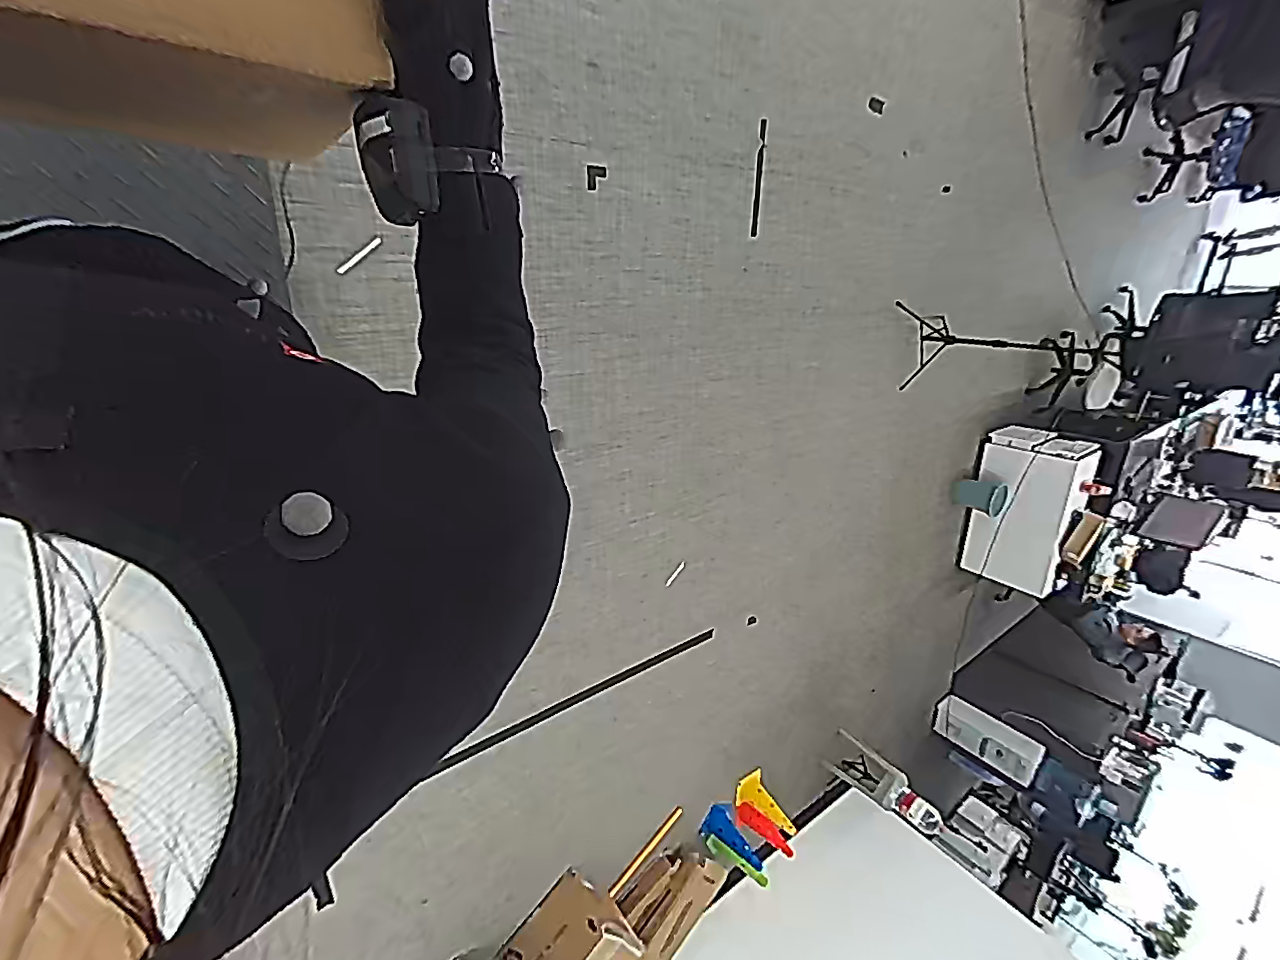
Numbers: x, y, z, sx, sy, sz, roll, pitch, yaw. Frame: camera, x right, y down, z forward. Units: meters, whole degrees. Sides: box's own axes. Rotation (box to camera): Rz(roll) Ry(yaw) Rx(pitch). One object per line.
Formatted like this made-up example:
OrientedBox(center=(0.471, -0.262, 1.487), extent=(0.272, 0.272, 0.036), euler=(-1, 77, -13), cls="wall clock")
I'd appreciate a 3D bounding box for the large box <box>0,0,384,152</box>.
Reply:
OrientedBox(center=(-0.401, -0.388, 0.271), extent=(0.408, 0.320, 0.320), euler=(-14, 117, -36), cls="large box")
